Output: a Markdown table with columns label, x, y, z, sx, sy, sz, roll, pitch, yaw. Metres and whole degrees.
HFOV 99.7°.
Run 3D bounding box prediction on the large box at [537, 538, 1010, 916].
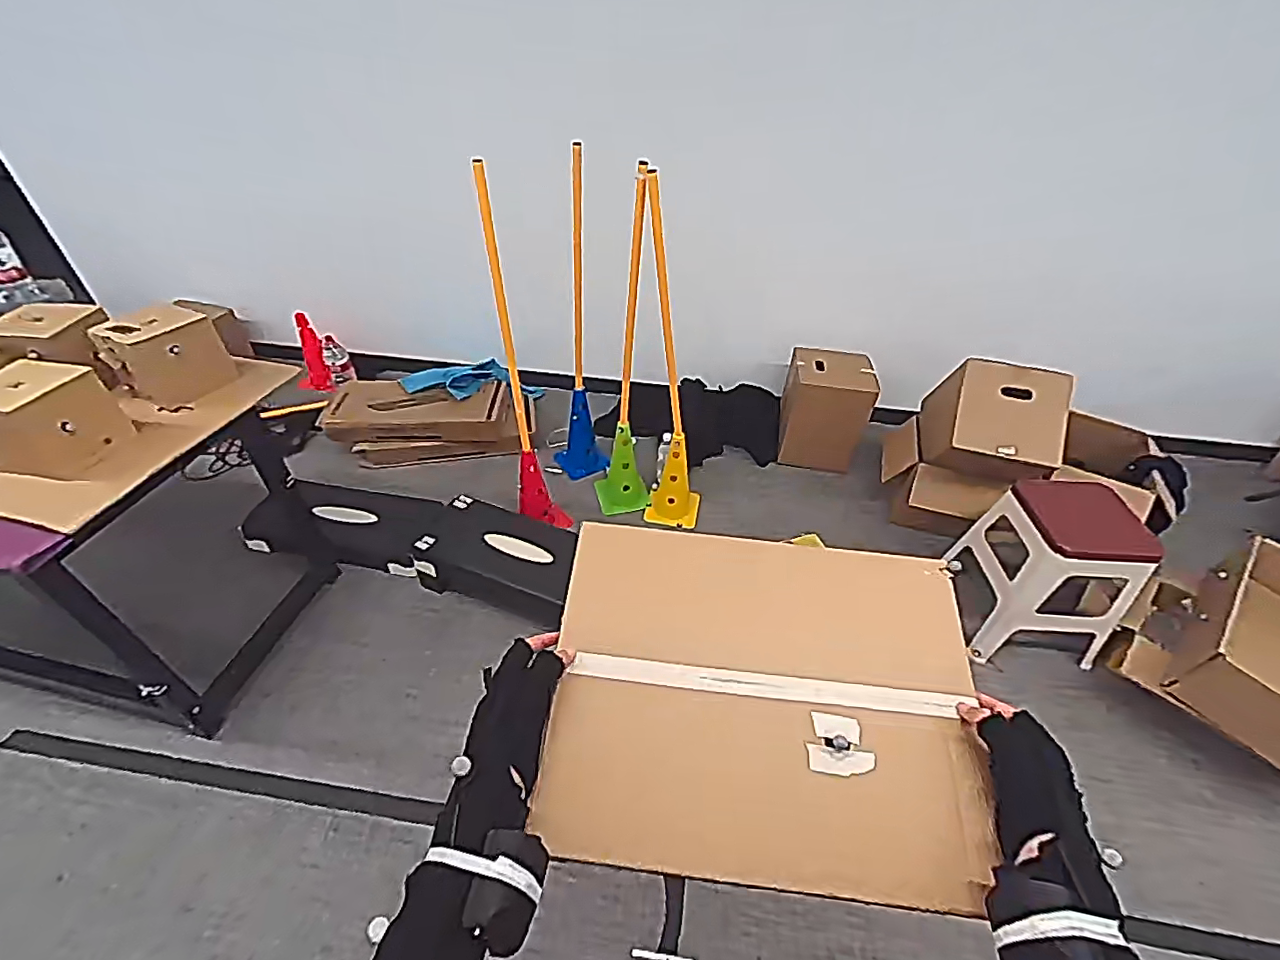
| label | x | y | z | sx | sy | sz | roll | pitch | yaw |
| --- | --- | --- | --- | --- | --- | --- | --- | --- | --- |
| large box | 0.120 | 0.293 | 0.655 | 0.408 | 0.320 | 0.320 | 6 | 57 | 3 |
